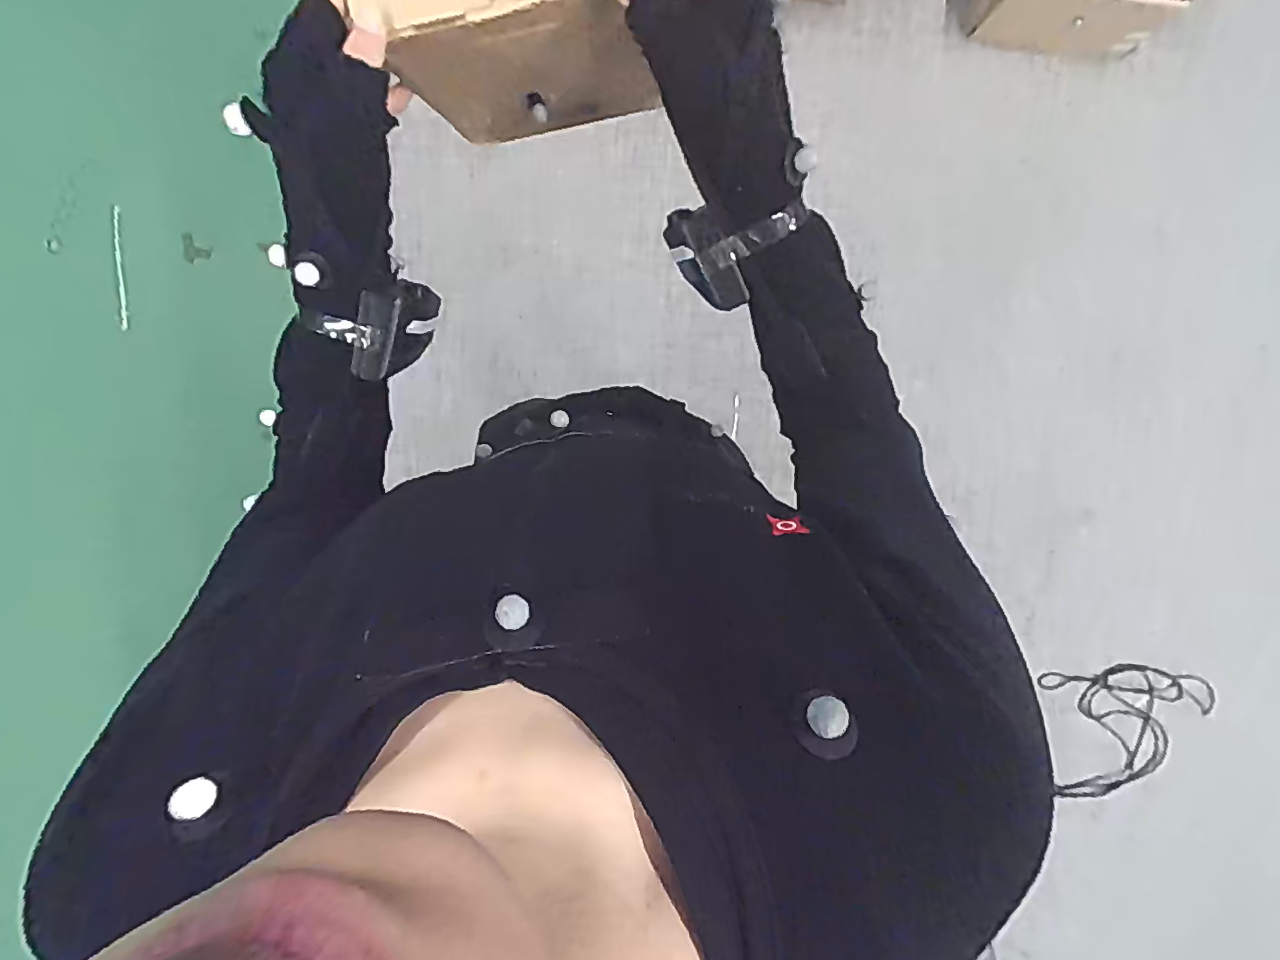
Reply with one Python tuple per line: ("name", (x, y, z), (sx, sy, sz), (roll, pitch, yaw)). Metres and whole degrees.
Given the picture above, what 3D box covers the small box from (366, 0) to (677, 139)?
("small box", (-0.068, -0.351, 0.338), (0.168, 0.176, 0.179), (-7, 105, 7))
